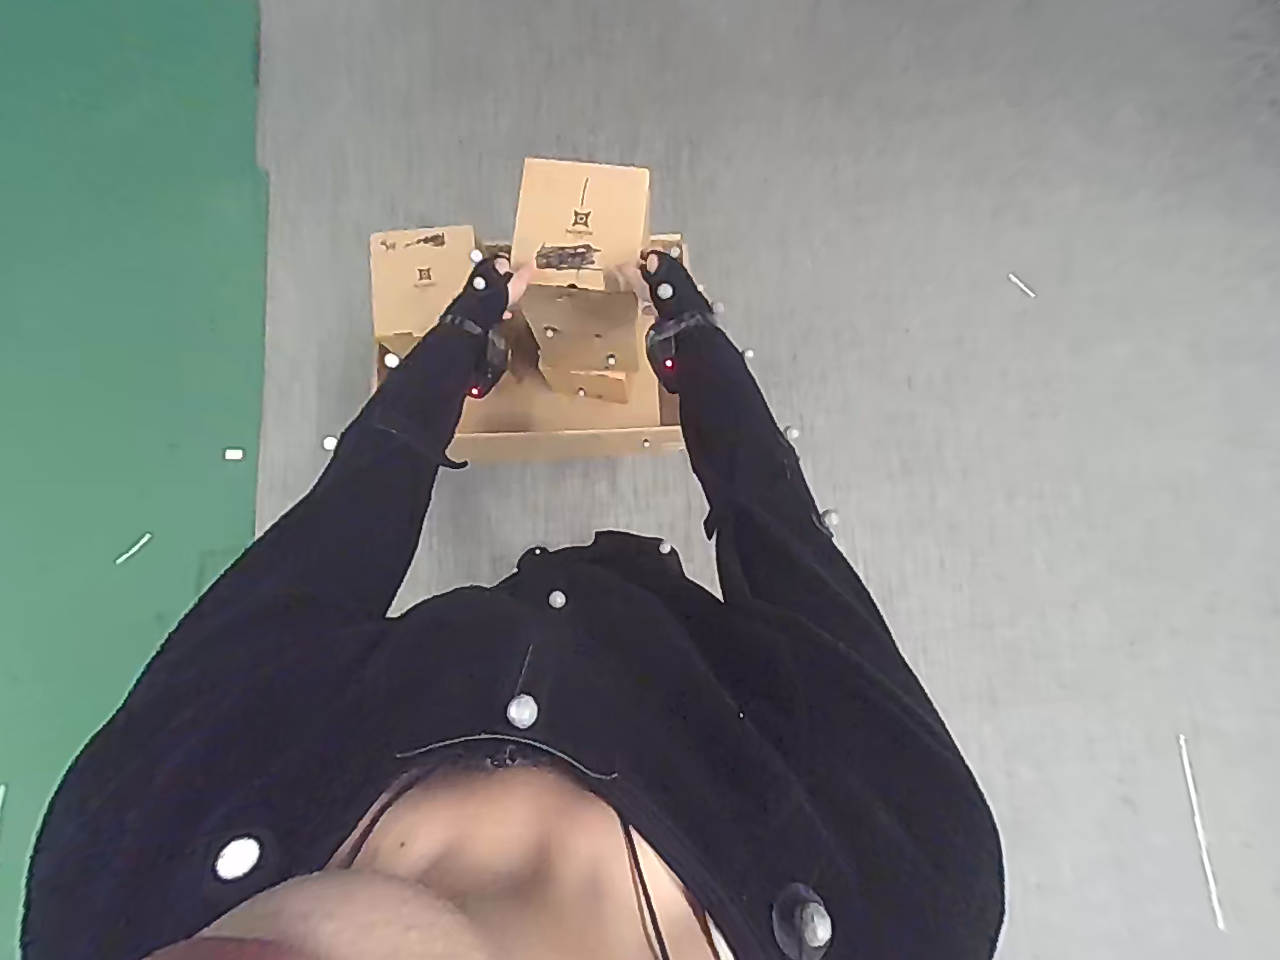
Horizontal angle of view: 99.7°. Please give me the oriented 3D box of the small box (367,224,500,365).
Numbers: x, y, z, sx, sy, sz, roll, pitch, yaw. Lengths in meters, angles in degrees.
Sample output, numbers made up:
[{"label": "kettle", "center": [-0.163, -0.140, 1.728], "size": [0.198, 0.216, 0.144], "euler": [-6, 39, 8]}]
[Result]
[{"label": "small box", "center": [-0.340, -0.301, 0.916], "size": [0.168, 0.176, 0.179], "euler": [-5, 83, -2]}]

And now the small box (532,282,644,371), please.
[{"label": "small box", "center": [-0.080, -0.294, 0.921], "size": [0.168, 0.176, 0.179], "euler": [3, 83, 1]}]

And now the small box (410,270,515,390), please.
[{"label": "small box", "center": [-0.353, -0.294, 1.081], "size": [0.168, 0.176, 0.179], "euler": [-5, 83, -1]}]

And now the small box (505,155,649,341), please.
[{"label": "small box", "center": [-0.078, -0.312, 0.759], "size": [0.168, 0.176, 0.179], "euler": [7, 82, 1]}]
